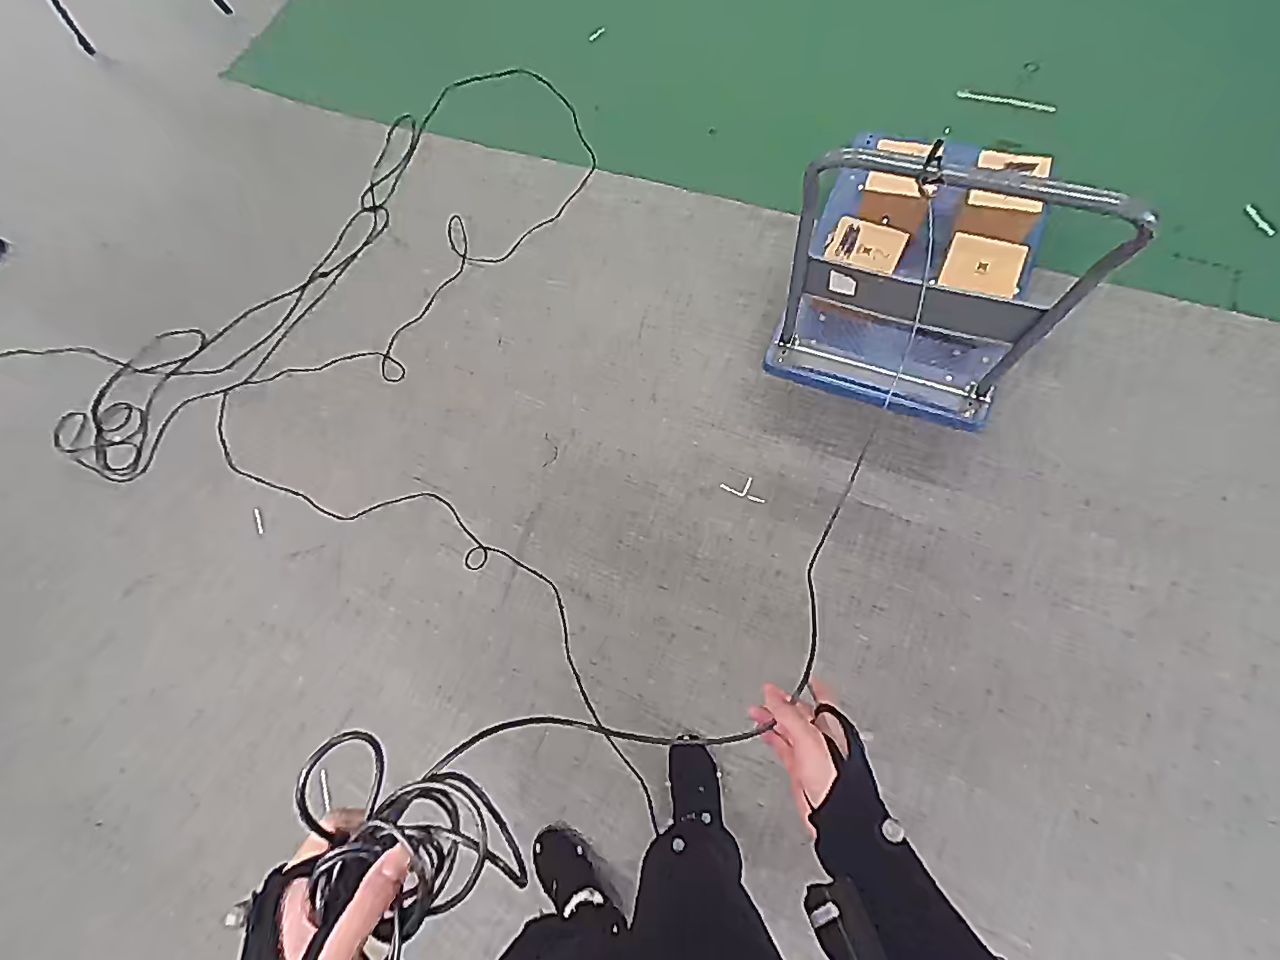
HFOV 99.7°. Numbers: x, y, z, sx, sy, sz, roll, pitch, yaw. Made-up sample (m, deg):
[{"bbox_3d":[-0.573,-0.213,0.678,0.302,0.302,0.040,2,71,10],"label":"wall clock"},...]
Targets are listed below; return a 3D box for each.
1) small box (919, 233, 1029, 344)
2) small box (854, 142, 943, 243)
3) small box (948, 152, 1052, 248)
[{"bbox_3d":[0.827,-0.475,1.354,0.168,0.176,0.179,21,77,16],"label":"small box"},{"bbox_3d":[0.701,-0.782,1.482,0.168,0.176,0.179,17,75,14],"label":"small box"},{"bbox_3d":[0.934,-0.715,1.417,0.168,0.176,0.179,16,76,16],"label":"small box"}]
